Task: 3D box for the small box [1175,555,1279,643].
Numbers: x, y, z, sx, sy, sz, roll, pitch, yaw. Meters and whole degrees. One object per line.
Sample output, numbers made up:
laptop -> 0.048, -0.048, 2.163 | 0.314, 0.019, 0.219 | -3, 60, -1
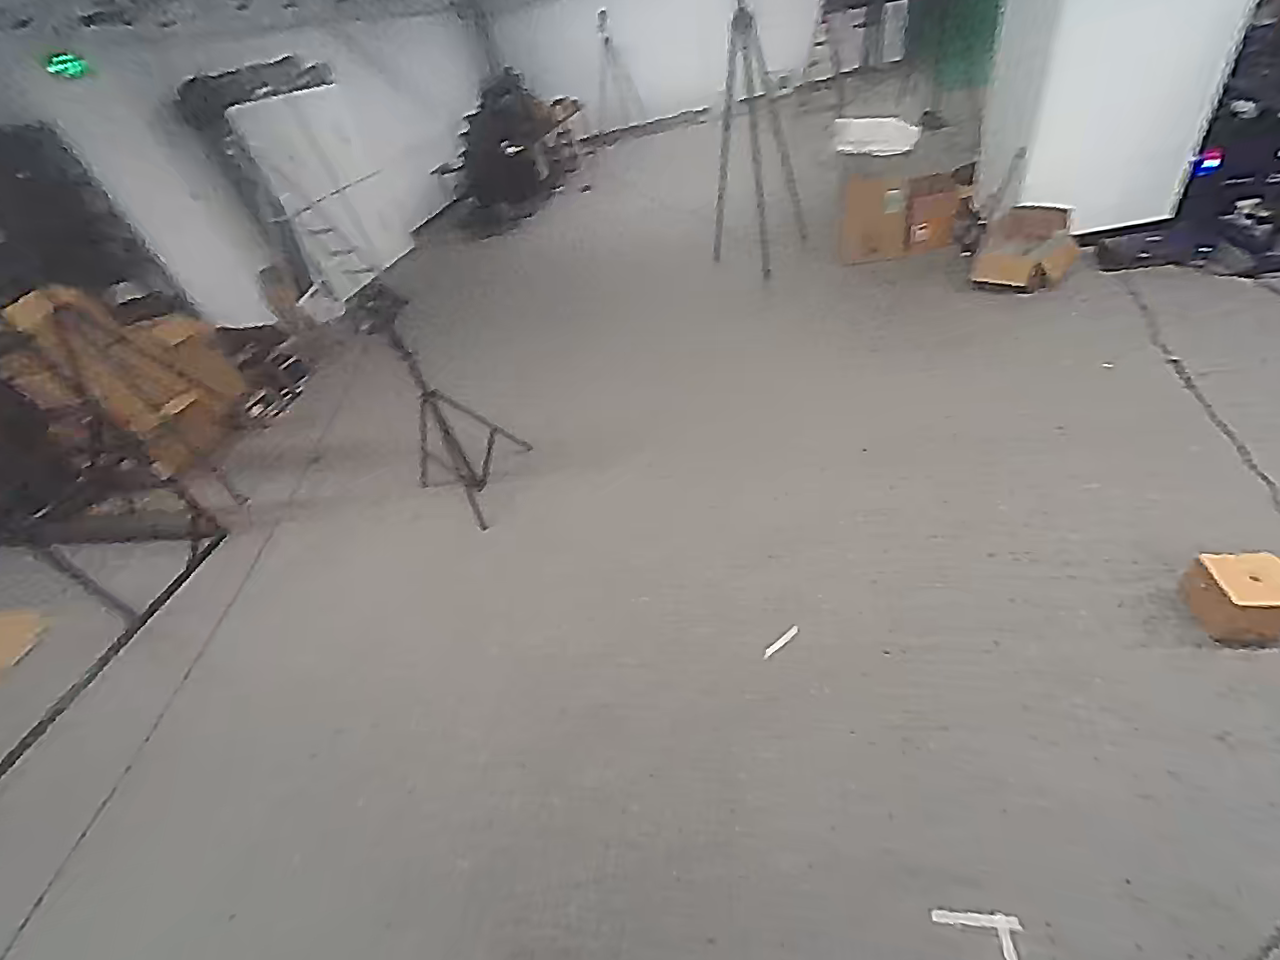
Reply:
small box -> 1.648, 0.327, 1.496 | 0.168, 0.176, 0.179 | -4, 41, 16
